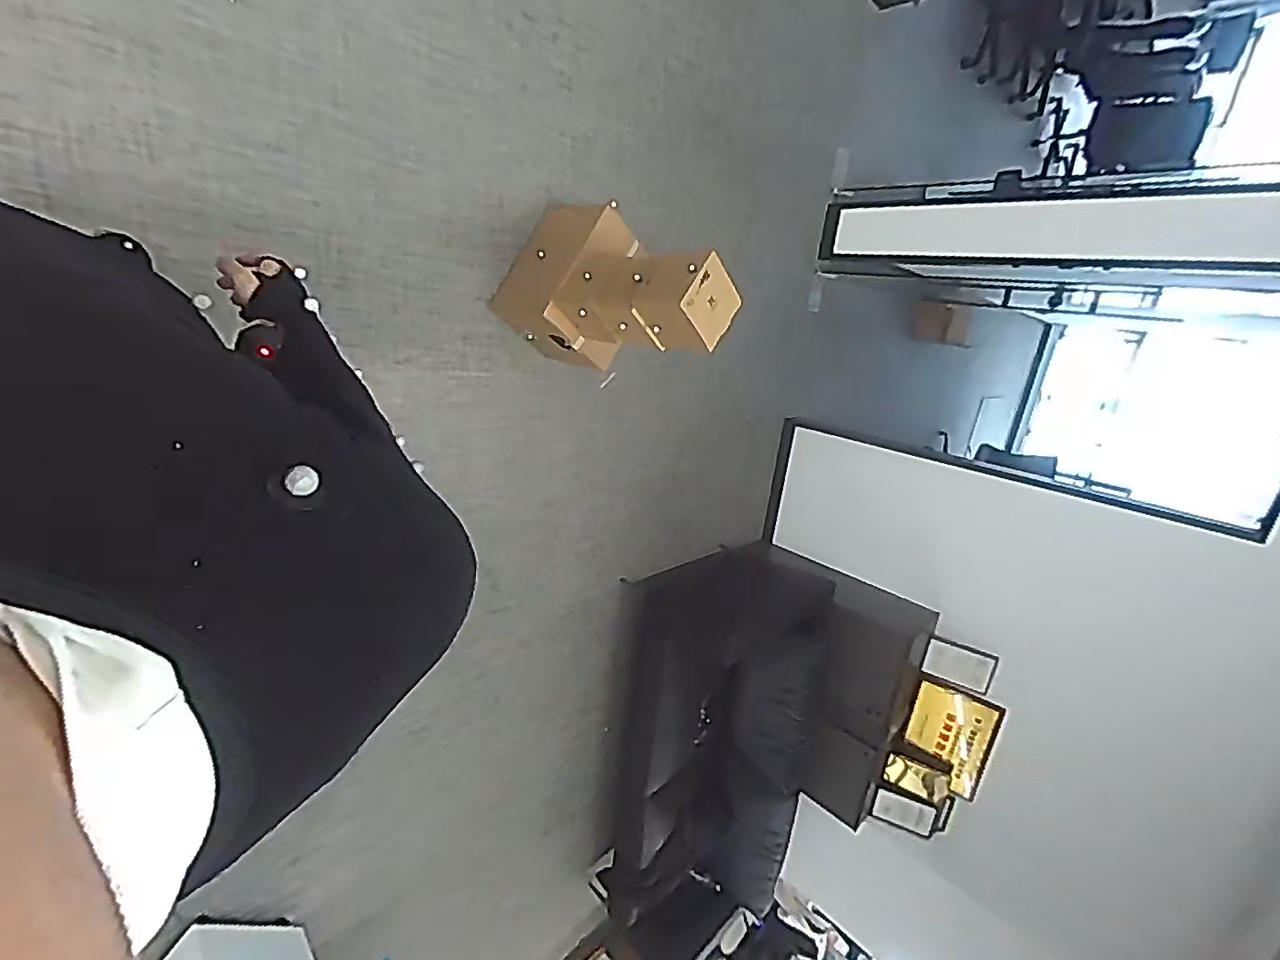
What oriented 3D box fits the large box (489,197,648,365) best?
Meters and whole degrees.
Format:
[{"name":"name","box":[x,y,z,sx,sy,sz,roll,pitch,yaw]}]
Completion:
[{"name":"large box","box":[-0.219,-0.647,1.782,0.320,0.320,0.408,36,80,-50]}]

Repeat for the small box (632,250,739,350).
[{"name":"small box","box":[0.114,-0.452,1.349,0.168,0.176,0.179,-59,139,-11]}]

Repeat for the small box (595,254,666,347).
[{"name":"small box","box":[0.003,-0.487,1.467,0.168,0.176,0.179,41,75,-47]}]
